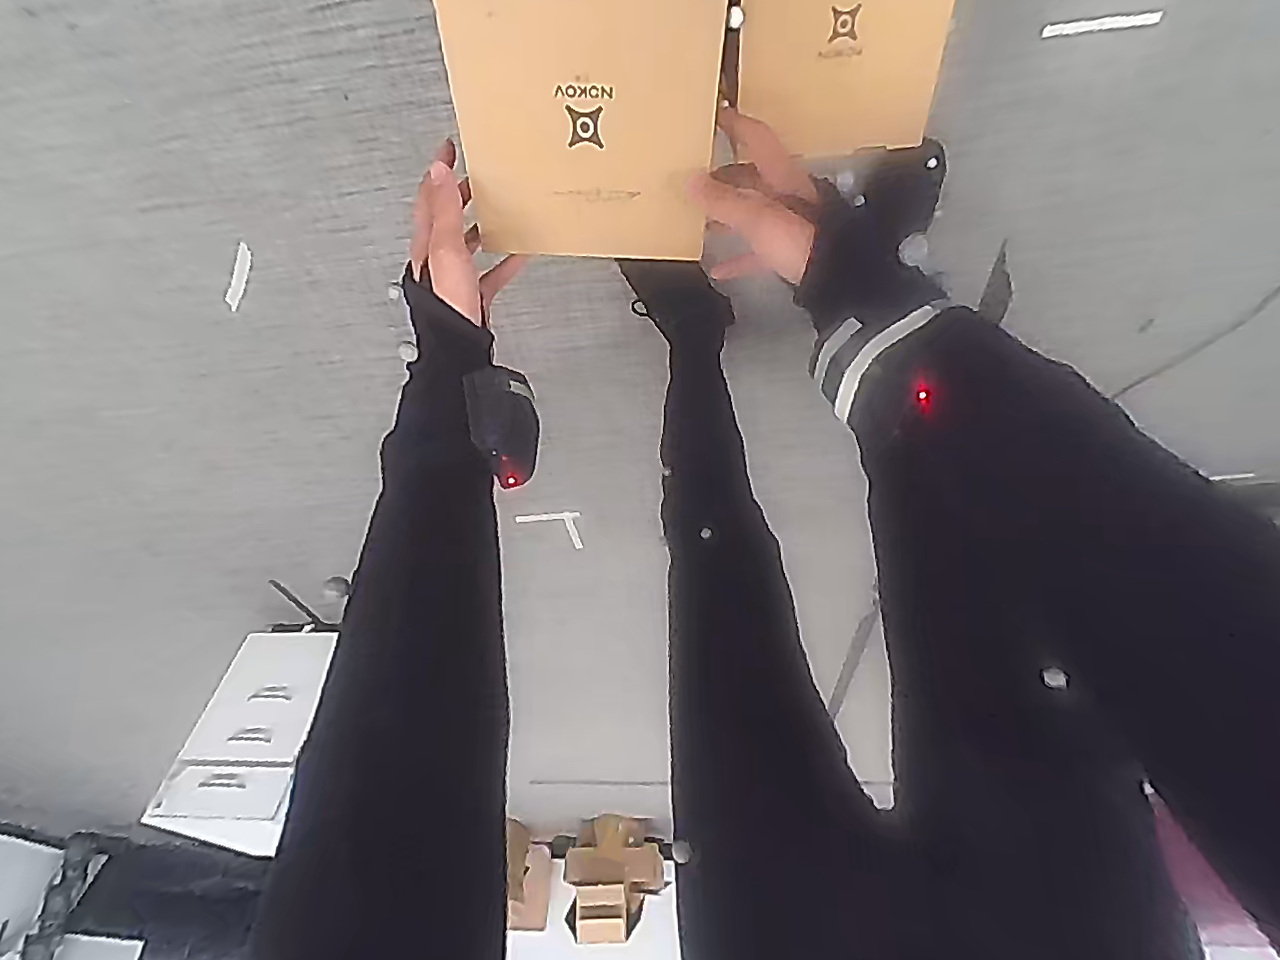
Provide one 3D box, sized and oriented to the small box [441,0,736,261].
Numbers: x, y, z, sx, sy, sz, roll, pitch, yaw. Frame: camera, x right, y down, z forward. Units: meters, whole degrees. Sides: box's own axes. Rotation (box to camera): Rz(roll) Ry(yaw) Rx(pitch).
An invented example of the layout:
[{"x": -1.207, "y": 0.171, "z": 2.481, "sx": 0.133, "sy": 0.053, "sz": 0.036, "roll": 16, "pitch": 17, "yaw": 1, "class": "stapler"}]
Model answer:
[{"x": -0.027, "y": -0.282, "z": 0.392, "sx": 0.168, "sy": 0.176, "sz": 0.179, "roll": 3, "pitch": 136, "yaw": 2, "class": "small box"}]
